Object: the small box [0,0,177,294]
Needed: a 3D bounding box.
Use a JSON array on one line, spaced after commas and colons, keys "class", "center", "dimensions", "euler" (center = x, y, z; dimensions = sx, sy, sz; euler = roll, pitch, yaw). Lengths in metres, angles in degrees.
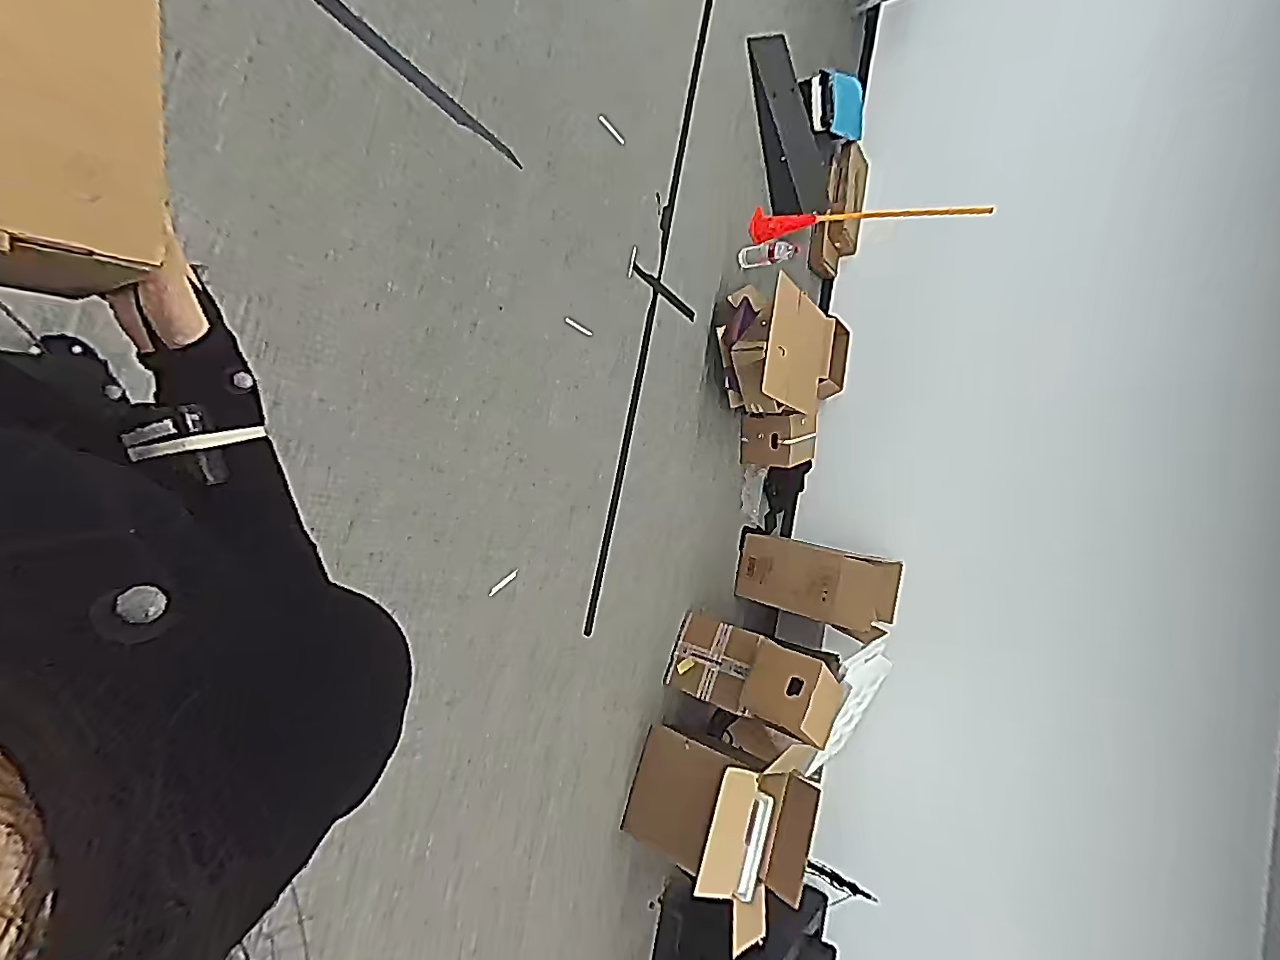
[{"class": "small box", "center": [-0.381, -0.209, 0.288], "dimensions": [0.168, 0.176, 0.179], "euler": [-5, 99, -58]}]
